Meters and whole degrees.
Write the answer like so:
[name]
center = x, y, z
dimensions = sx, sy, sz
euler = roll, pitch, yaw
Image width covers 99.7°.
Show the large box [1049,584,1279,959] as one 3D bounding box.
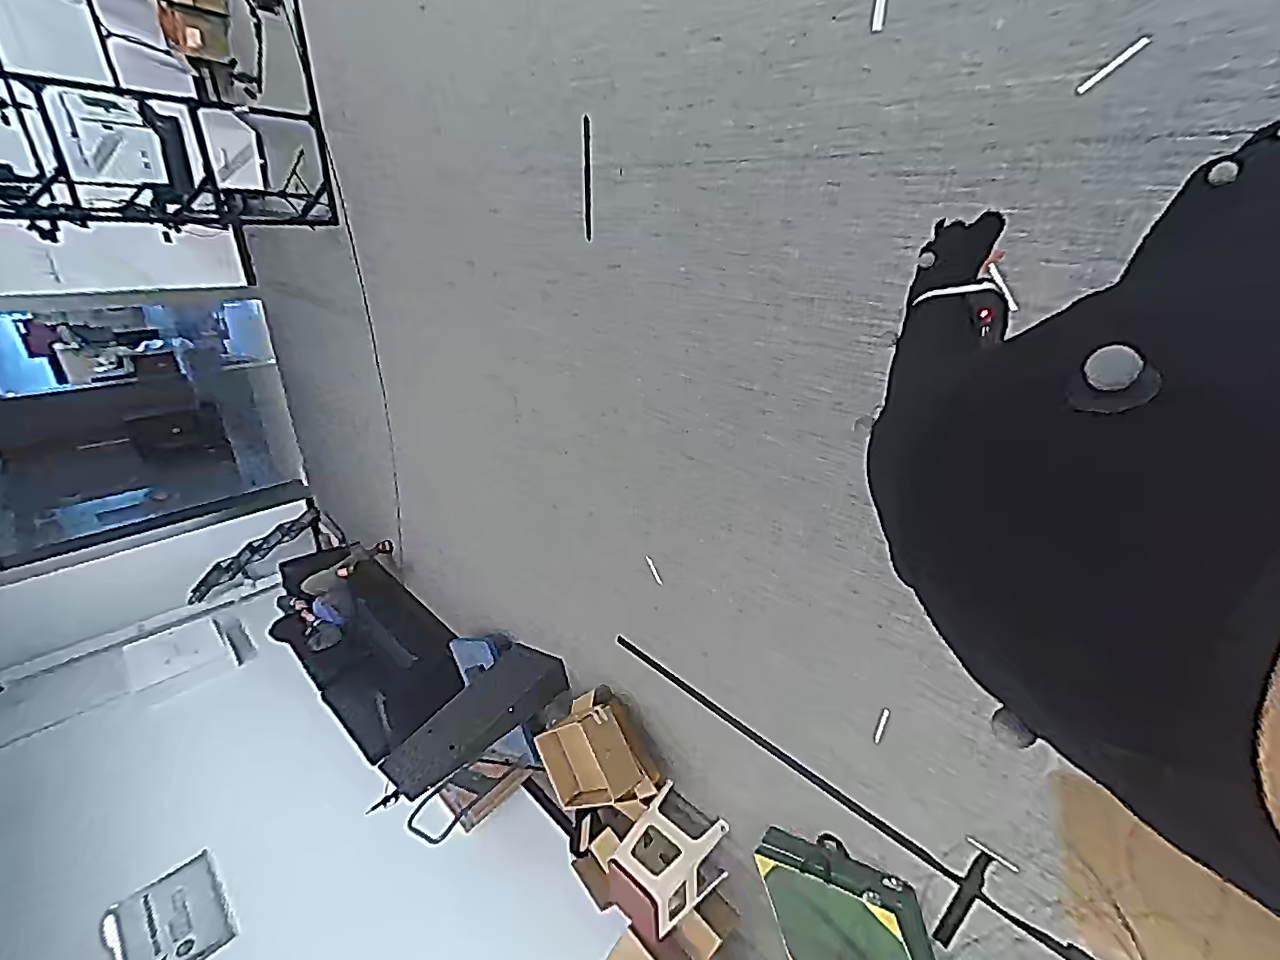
[large box]
center = 0.682, 0.276, 0.508
dimensions = 0.408, 0.320, 0.320
euler = -11, 68, 49
